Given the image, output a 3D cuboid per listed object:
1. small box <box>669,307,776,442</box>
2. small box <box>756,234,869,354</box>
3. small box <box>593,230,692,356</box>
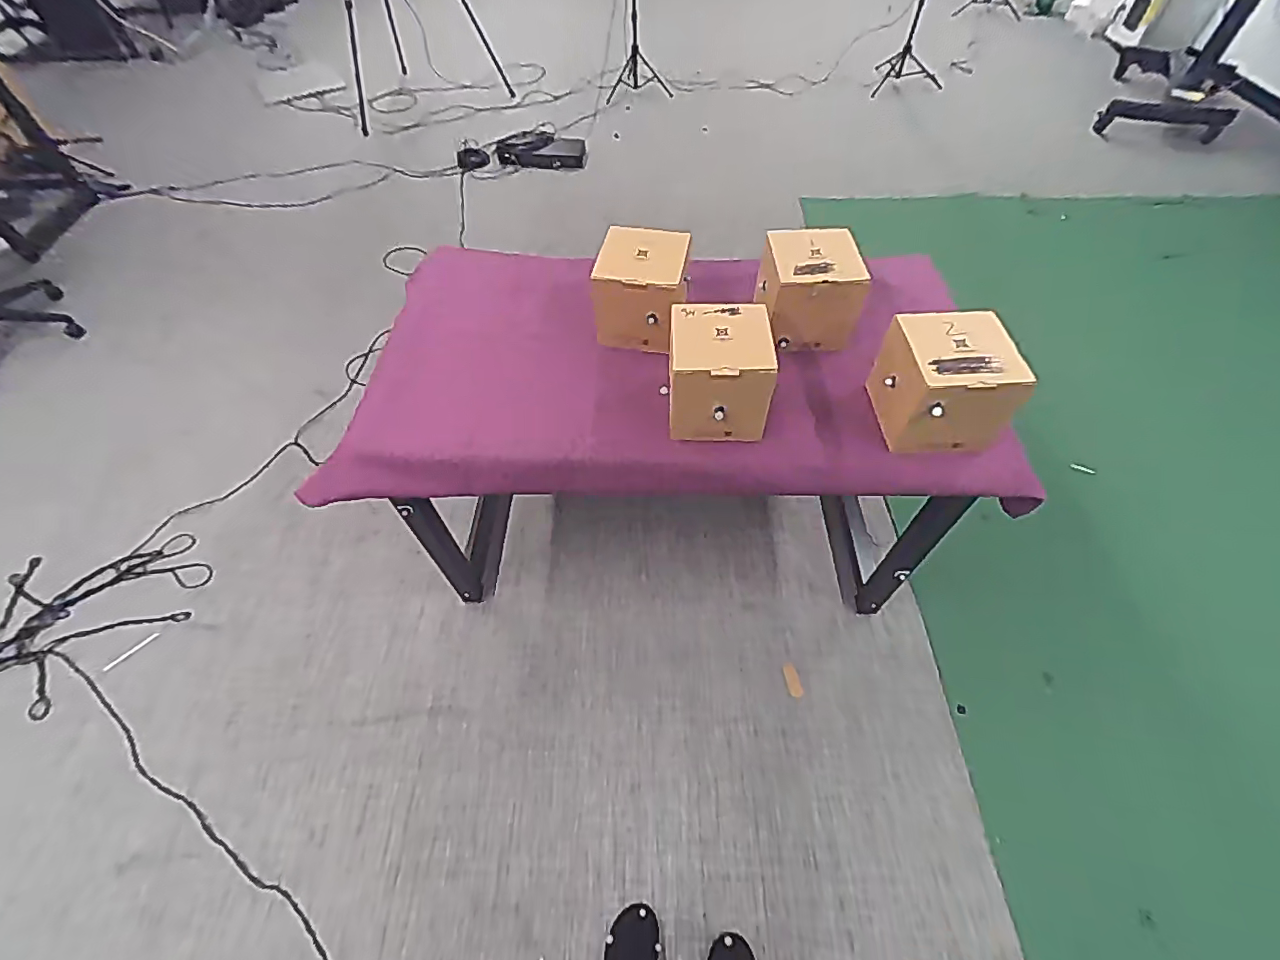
[{"bbox_3d":[0.137,-0.182,0.952,0.168,0.176,0.179,1,53,2],"label":"small box"},{"bbox_3d":[0.334,-0.368,1.084,0.168,0.176,0.179,0,53,0],"label":"small box"},{"bbox_3d":[0.010,-0.376,1.097,0.168,0.176,0.179,9,55,7],"label":"small box"}]
